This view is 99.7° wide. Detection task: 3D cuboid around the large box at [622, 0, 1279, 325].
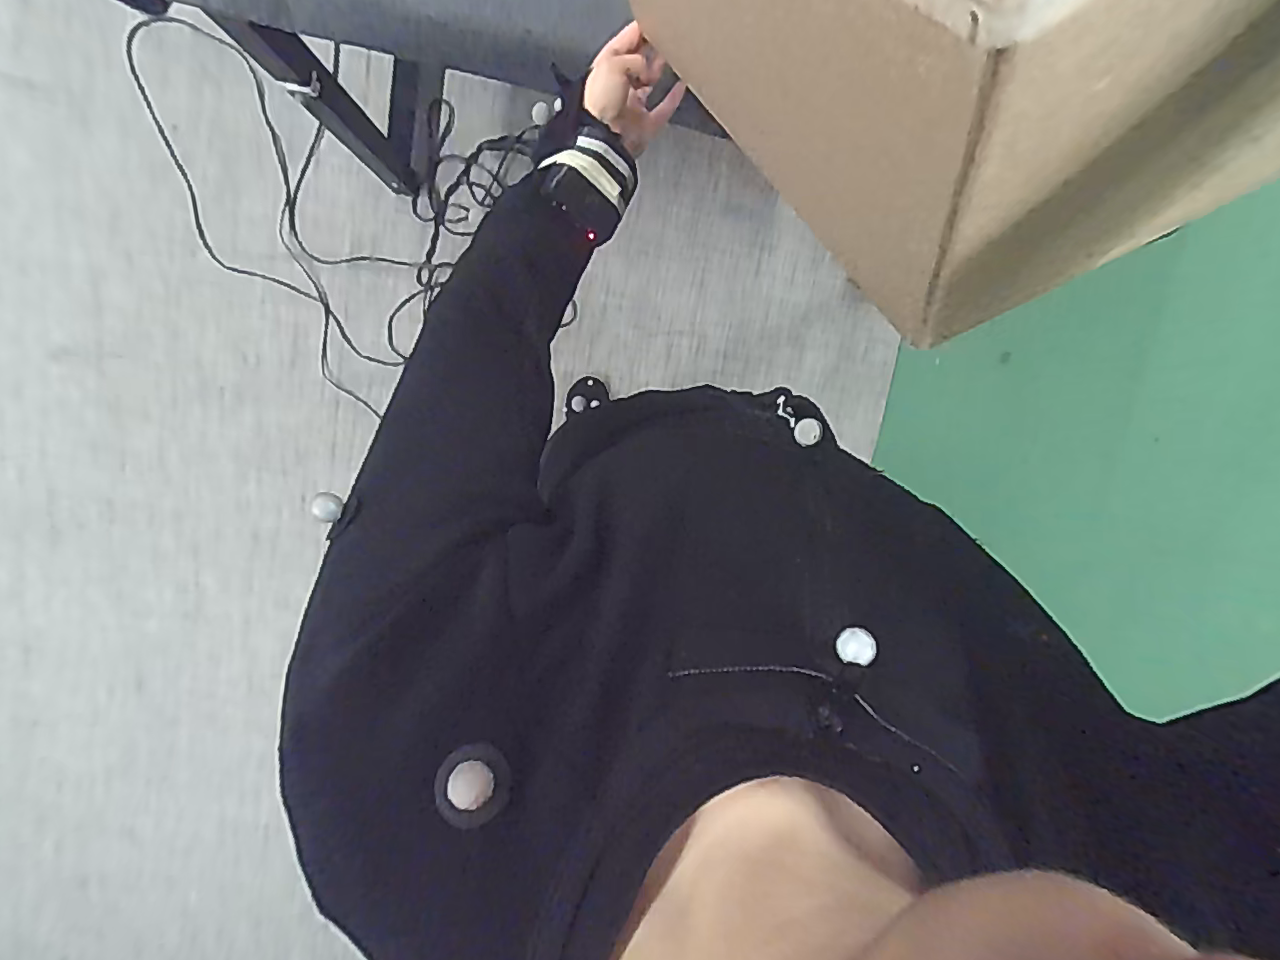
[{"bbox_3d":[0.156,-0.355,0.222,0.320,0.320,0.408,-29,63,5],"label":"large box"}]
